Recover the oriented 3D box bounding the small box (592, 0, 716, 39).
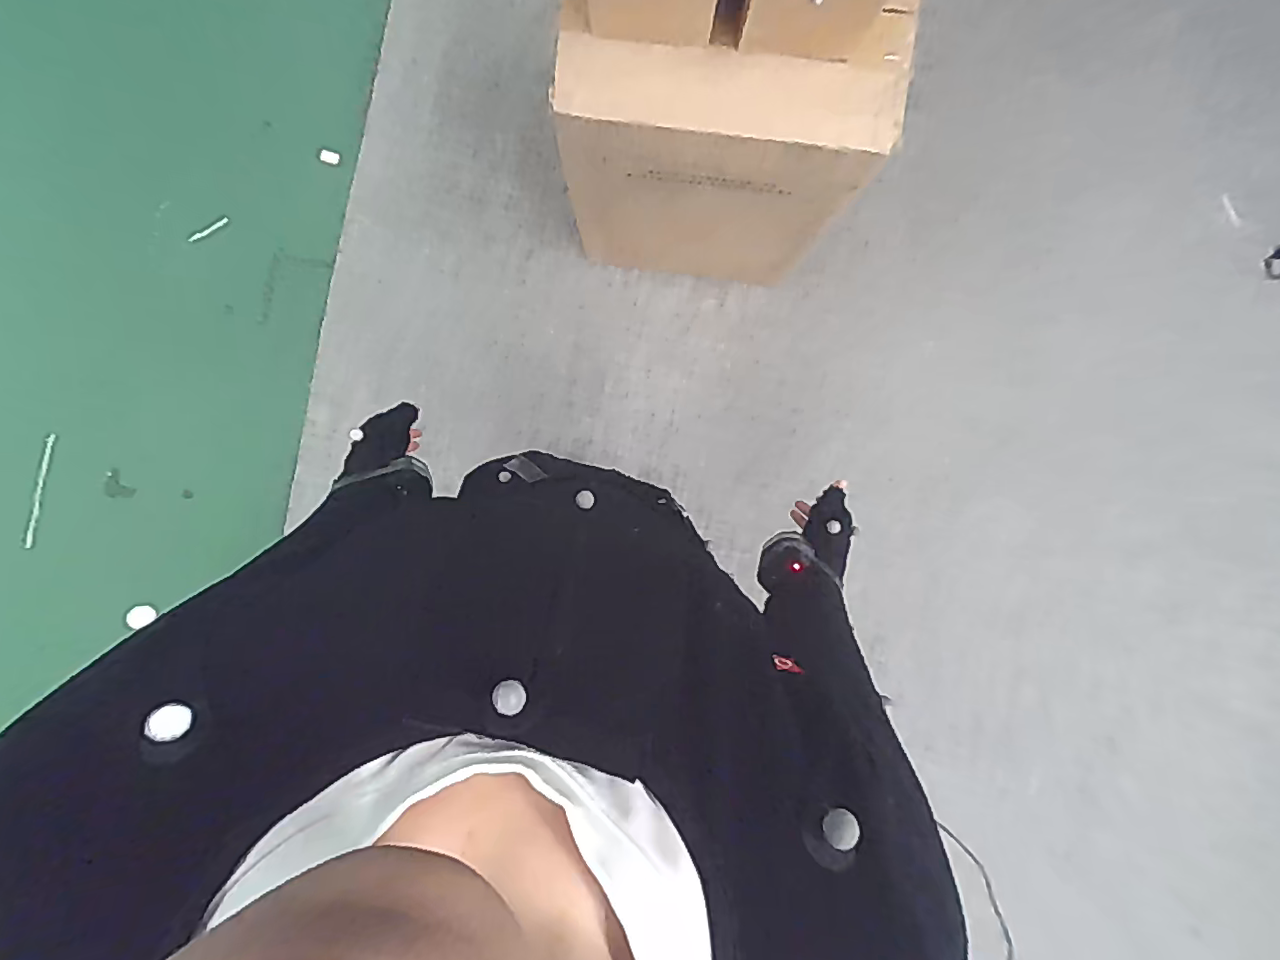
[{"bbox_3d":[0.024,-0.730,0.714,0.179,0.176,0.168,5,96,-1],"label":"small box"}]
